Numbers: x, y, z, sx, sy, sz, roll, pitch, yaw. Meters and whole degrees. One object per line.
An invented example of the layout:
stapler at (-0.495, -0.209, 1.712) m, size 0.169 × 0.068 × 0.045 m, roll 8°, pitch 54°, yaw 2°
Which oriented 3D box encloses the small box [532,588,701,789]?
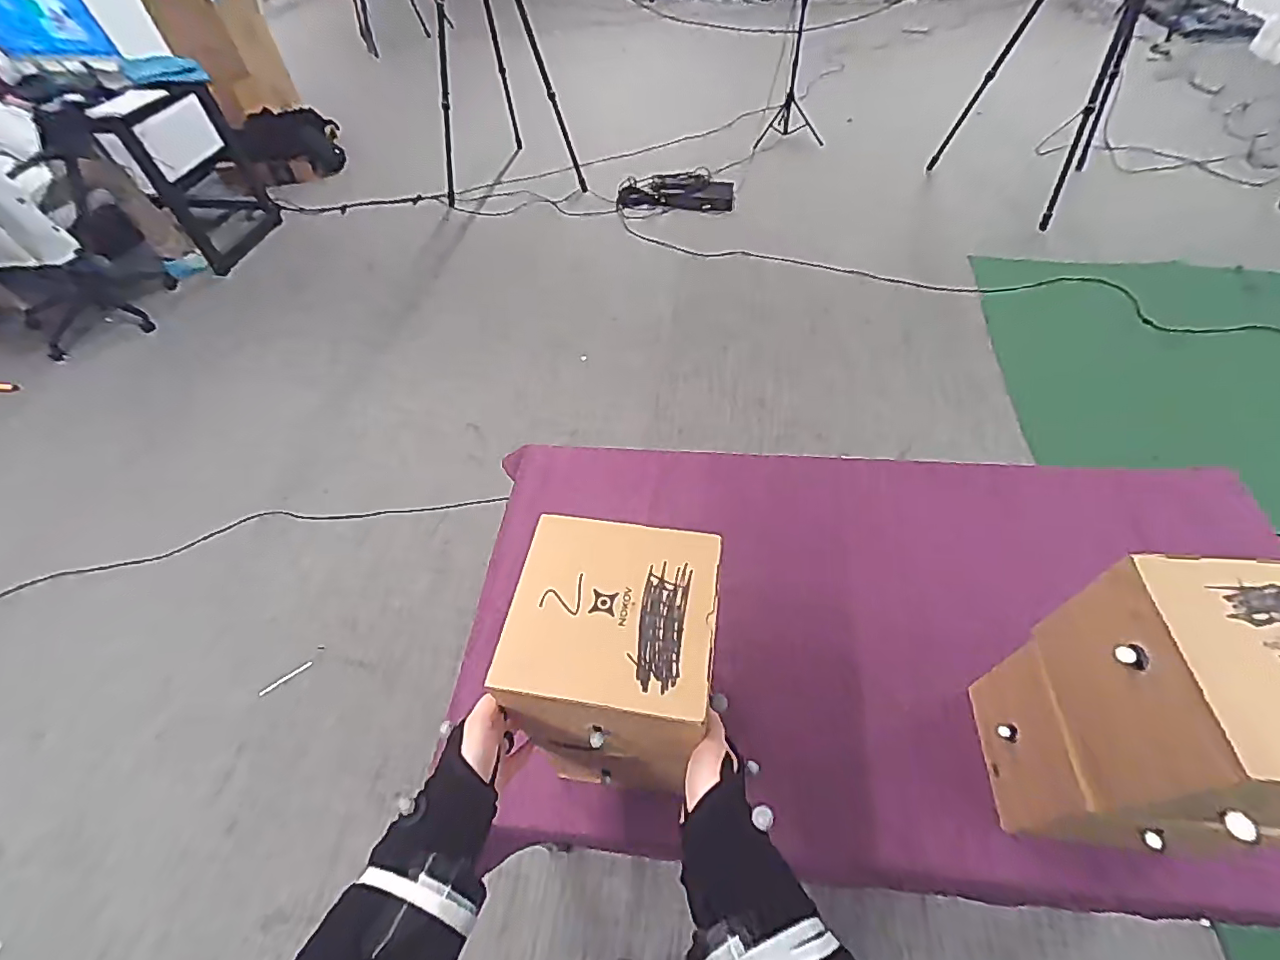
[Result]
small box at (-0.018, 0.254, 0.657) m, size 0.168 × 0.176 × 0.179 m, roll 4°, pitch 52°, yaw 6°

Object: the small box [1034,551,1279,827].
small box at (0.491, 0.182, 0.469) m, size 0.168 × 0.176 × 0.179 m, roll 2°, pitch 52°, yaw 6°

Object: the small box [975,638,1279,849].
small box at (0.499, 0.291, 0.592) m, size 0.179 × 0.176 × 0.168 m, roll 4°, pitch 52°, yaw 7°
